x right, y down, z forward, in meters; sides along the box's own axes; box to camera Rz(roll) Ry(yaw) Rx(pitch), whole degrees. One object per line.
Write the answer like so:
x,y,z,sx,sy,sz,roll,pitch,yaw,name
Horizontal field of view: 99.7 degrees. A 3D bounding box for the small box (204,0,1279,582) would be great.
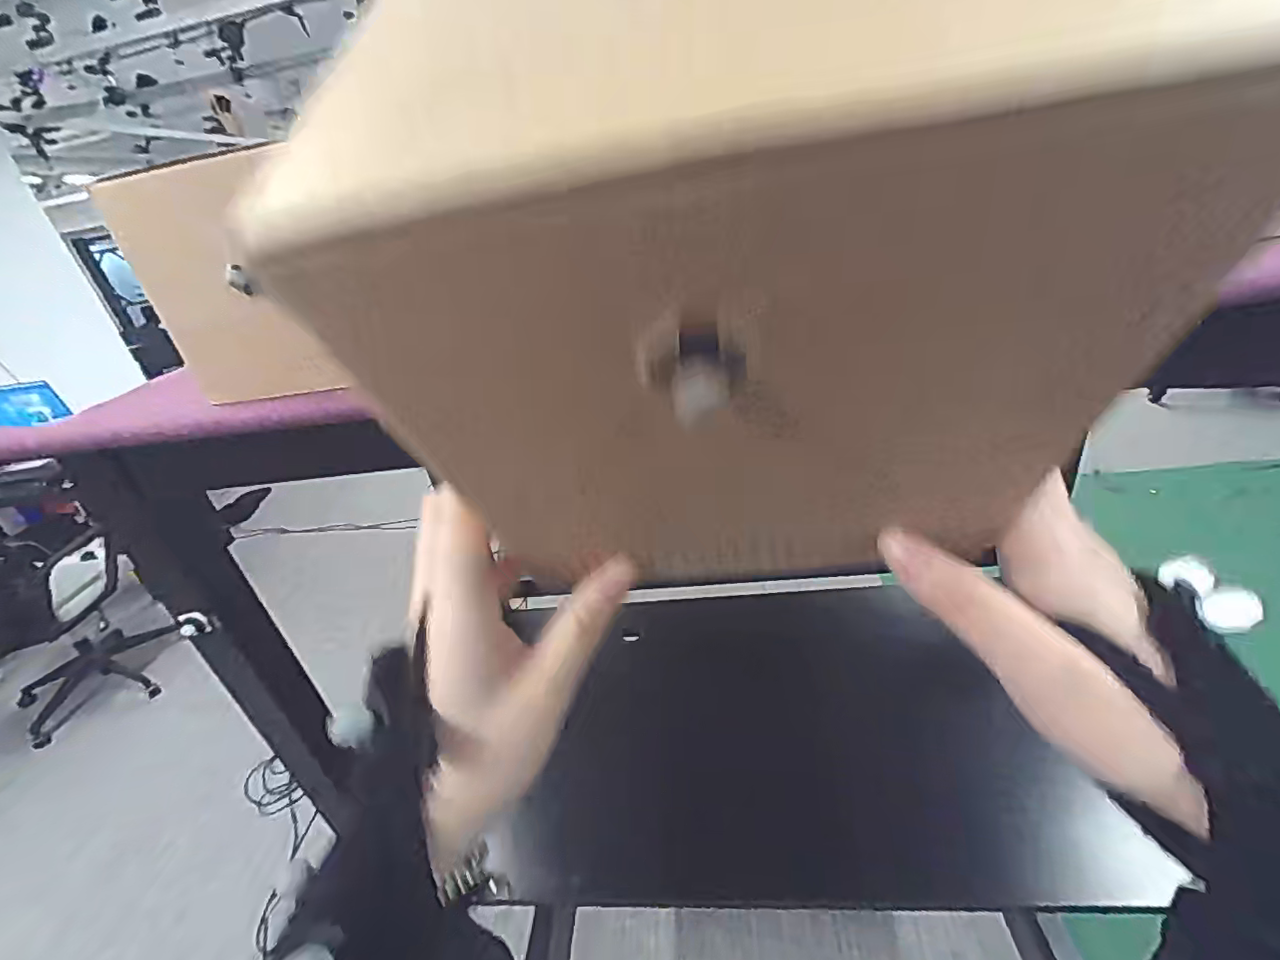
0.026,-0.072,0.183,0.179,0.176,0.168,-6,59,8,small box
